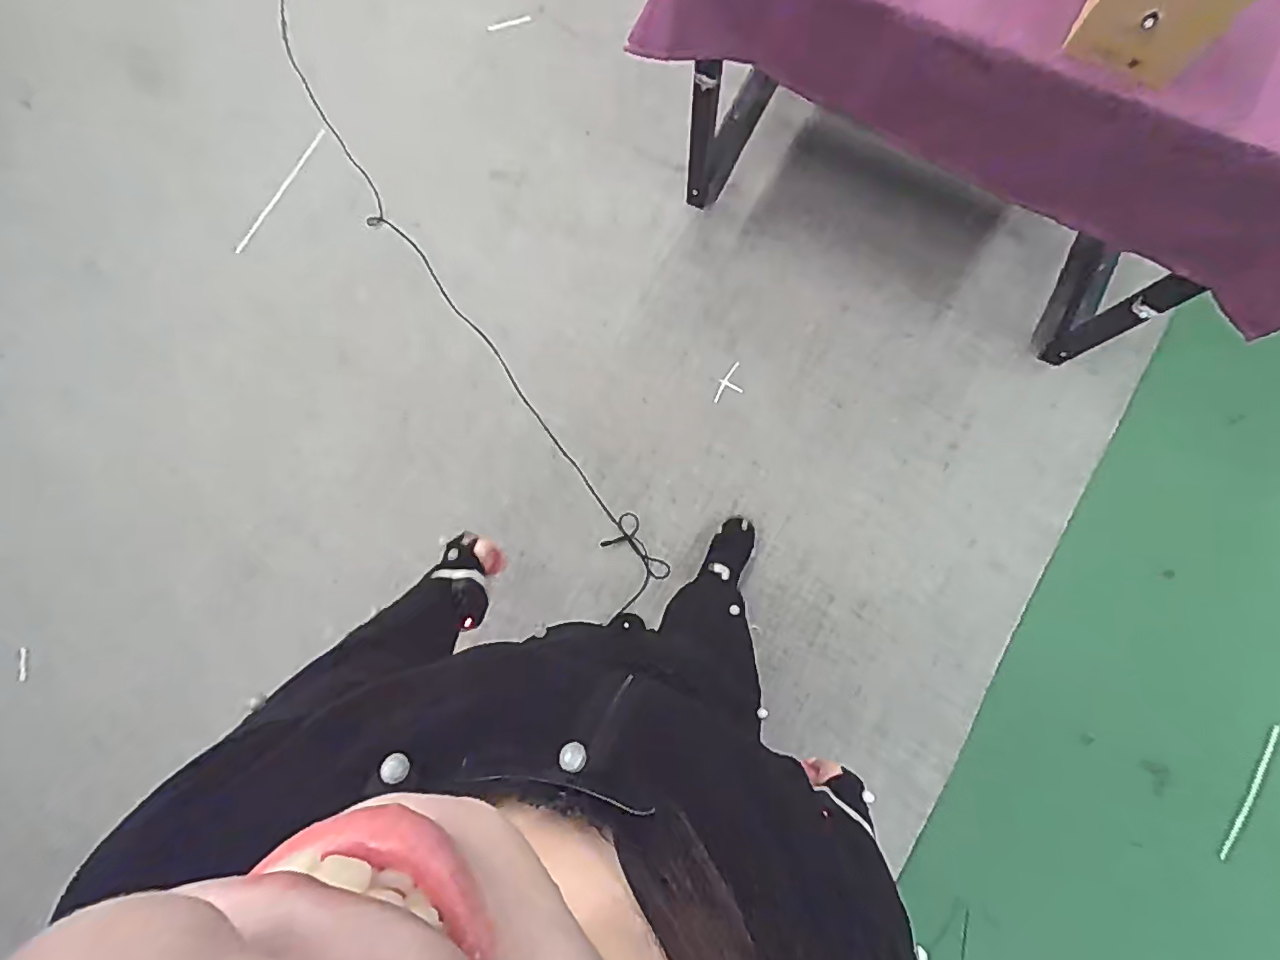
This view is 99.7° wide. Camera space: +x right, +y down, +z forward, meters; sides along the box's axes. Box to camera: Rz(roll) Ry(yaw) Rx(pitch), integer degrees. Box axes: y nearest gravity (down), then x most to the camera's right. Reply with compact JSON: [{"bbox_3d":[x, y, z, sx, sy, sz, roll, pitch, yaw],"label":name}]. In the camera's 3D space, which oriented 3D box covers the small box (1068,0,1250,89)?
[{"bbox_3d":[0.786,-0.733,0.793,0.168,0.176,0.179,30,83,6],"label":"small box"}]
